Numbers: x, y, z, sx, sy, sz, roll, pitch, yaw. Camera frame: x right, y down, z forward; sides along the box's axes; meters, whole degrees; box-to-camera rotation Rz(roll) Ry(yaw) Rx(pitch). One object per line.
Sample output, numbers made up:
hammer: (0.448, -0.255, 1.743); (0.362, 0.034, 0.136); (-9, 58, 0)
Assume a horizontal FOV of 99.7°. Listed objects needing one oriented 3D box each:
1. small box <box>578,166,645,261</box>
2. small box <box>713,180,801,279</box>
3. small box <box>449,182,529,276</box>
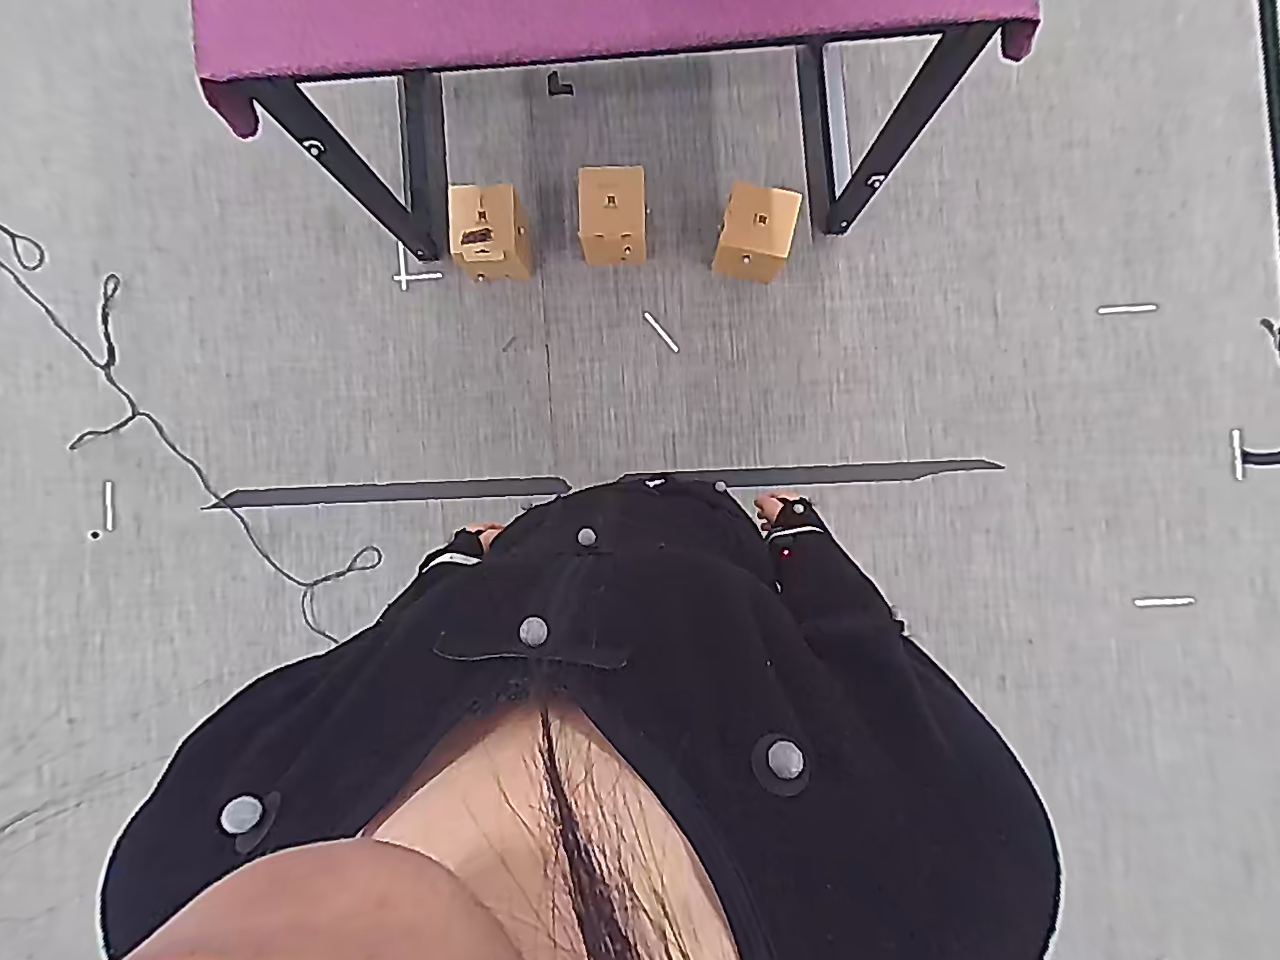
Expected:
small box: (-0.071, -0.693, 1.424); (0.168, 0.176, 0.179); (-2, 88, 0)
small box: (0.299, -0.646, 1.418); (0.179, 0.176, 0.168); (14, 91, 2)
small box: (-0.393, -0.652, 1.427); (0.168, 0.176, 0.179); (-2, 88, 1)
